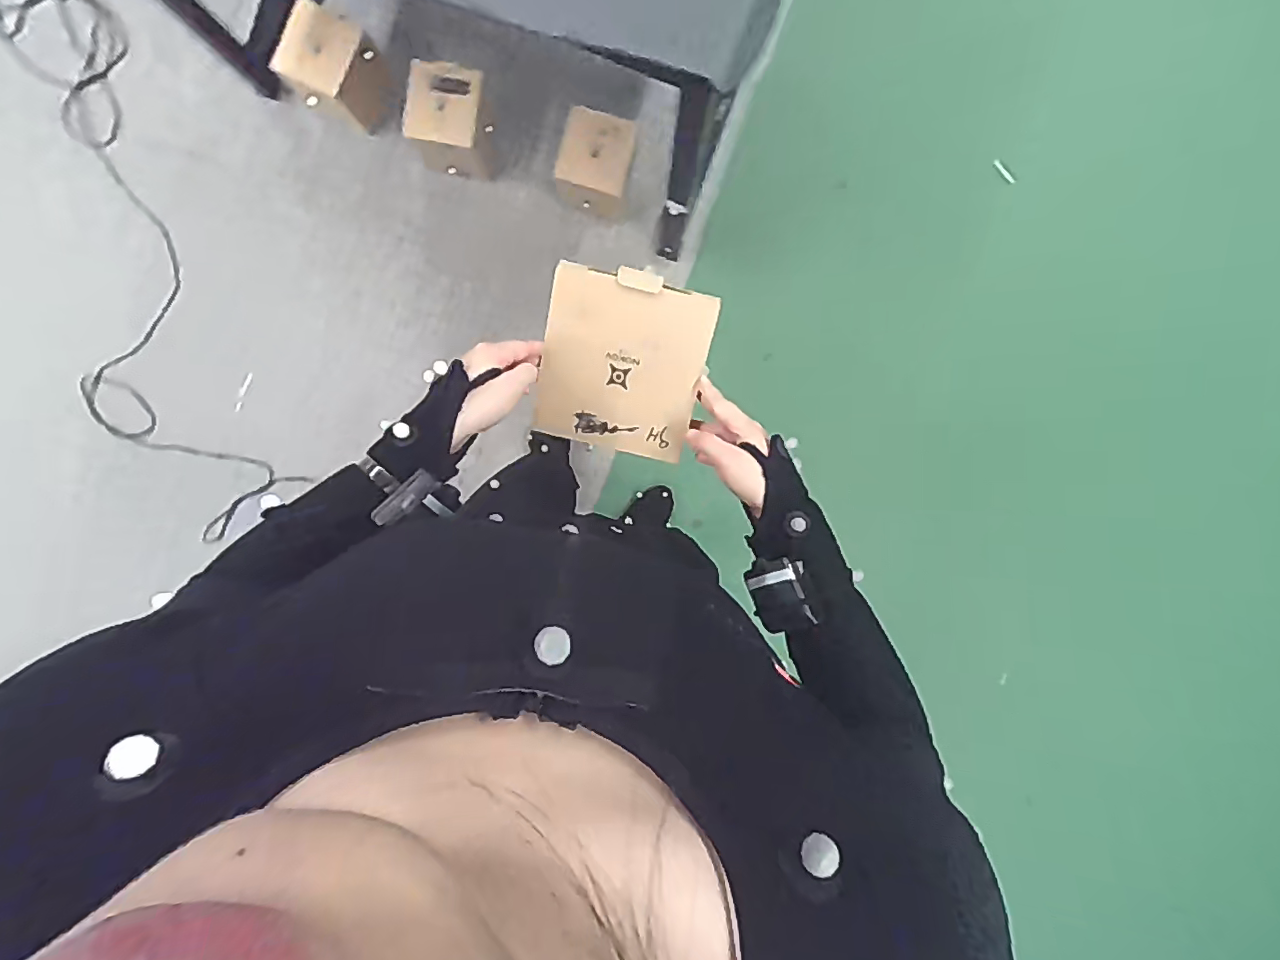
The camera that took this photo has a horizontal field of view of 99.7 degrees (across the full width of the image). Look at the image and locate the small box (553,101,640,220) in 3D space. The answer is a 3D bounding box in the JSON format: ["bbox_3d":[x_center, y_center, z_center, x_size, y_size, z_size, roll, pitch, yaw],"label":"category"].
[{"bbox_3d":[-0.102,-0.779,1.339,0.168,0.176,0.179,17,94,-2],"label":"small box"}]

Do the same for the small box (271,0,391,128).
[{"bbox_3d":[-0.741,-1.011,1.318,0.168,0.176,0.179,26,93,-2],"label":"small box"}]

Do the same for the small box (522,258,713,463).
[{"bbox_3d":[-0.024,-0.141,0.620,0.168,0.176,0.179,13,110,-1],"label":"small box"}]
